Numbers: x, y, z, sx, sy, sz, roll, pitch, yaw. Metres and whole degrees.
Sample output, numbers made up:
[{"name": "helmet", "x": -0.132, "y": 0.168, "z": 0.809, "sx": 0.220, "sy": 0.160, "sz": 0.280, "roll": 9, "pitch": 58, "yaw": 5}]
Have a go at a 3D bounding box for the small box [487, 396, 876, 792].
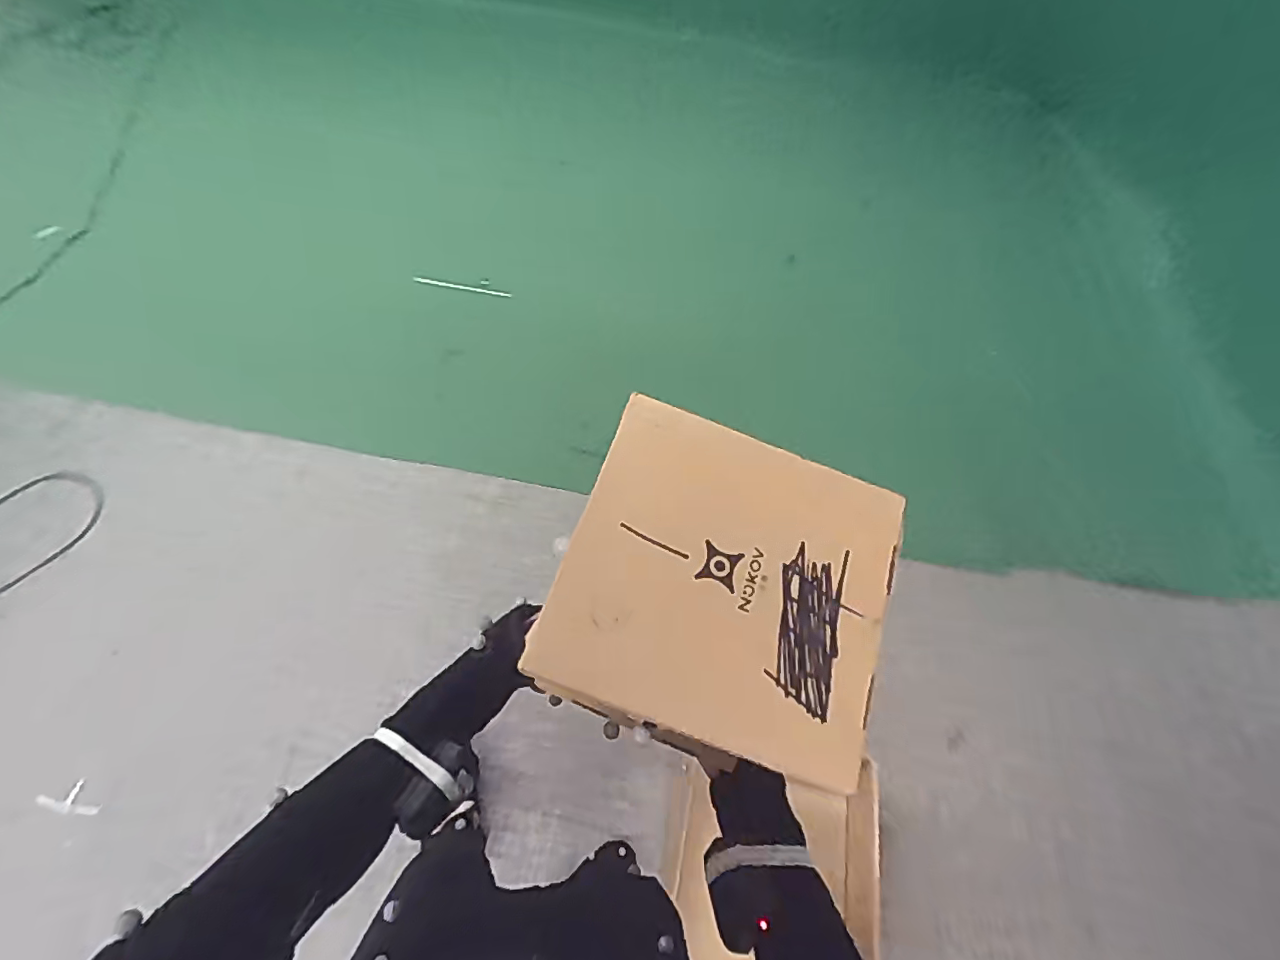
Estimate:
[{"name": "small box", "x": 0.021, "y": 0.077, "z": 0.362, "sx": 0.179, "sy": 0.176, "sz": 0.168, "roll": 21, "pitch": 67, "yaw": -1}]
